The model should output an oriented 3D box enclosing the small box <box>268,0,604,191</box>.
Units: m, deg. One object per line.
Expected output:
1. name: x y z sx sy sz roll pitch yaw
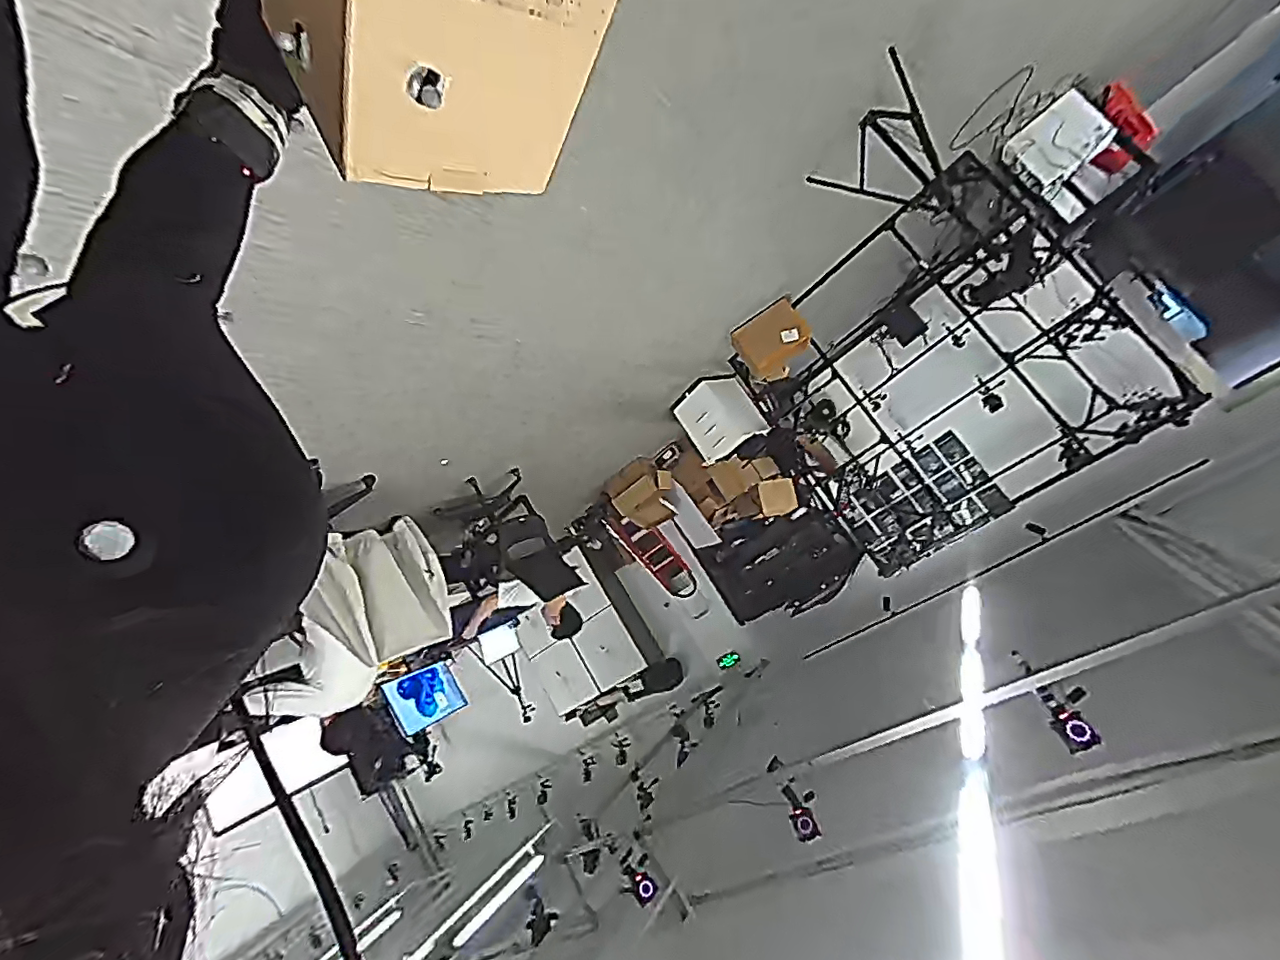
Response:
1. small box: -0.145 -0.340 0.378 0.168 0.179 0.176 -18 163 -39
